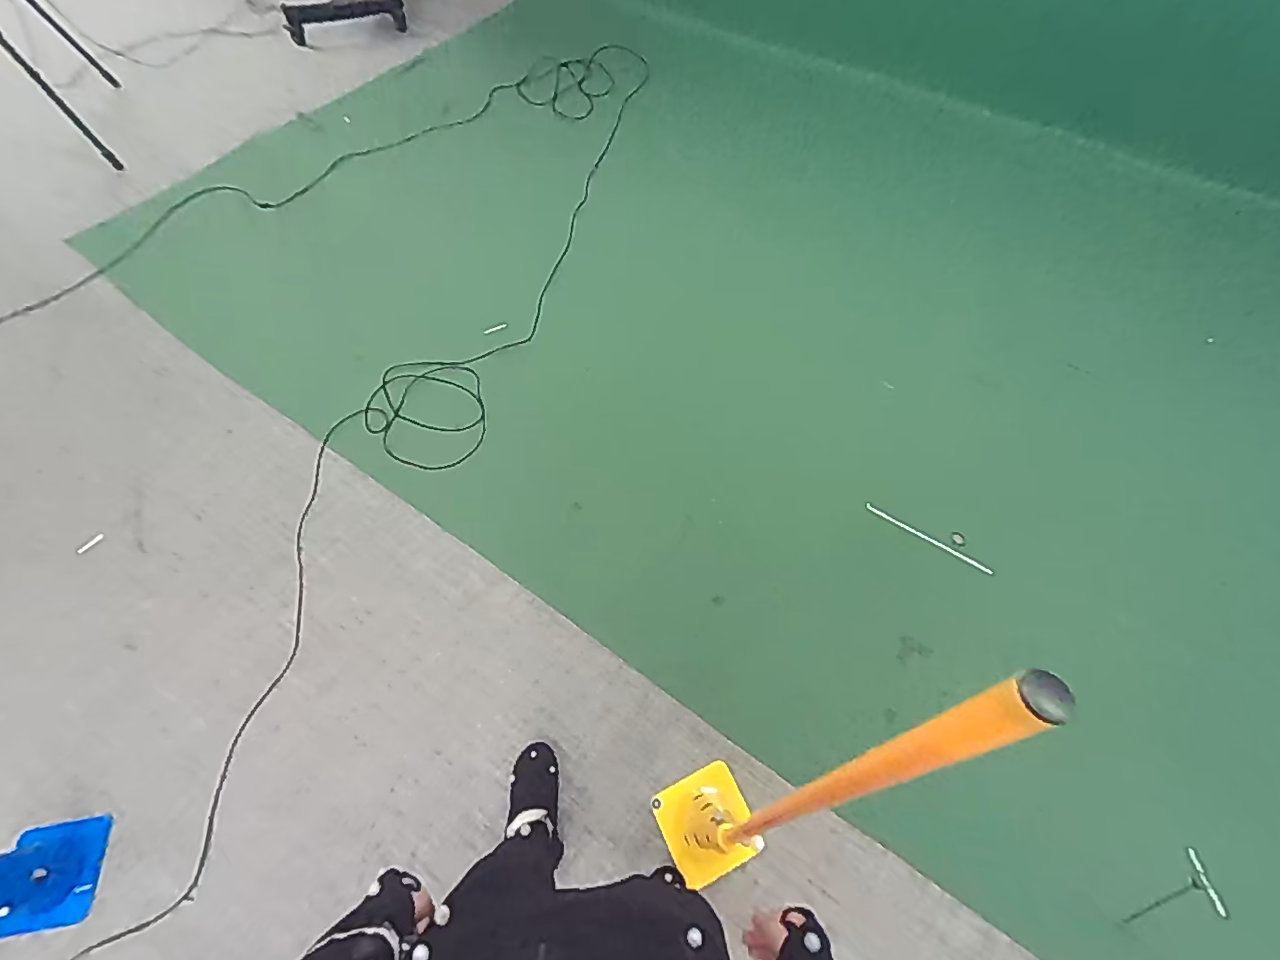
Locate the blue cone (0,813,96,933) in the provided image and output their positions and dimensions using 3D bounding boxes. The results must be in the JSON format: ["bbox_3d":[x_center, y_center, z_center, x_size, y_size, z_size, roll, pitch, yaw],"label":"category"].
[{"bbox_3d":[-1.291,0.767,1.015,0.193,0.380,0.192,-10,63,-3],"label":"blue cone"}]
